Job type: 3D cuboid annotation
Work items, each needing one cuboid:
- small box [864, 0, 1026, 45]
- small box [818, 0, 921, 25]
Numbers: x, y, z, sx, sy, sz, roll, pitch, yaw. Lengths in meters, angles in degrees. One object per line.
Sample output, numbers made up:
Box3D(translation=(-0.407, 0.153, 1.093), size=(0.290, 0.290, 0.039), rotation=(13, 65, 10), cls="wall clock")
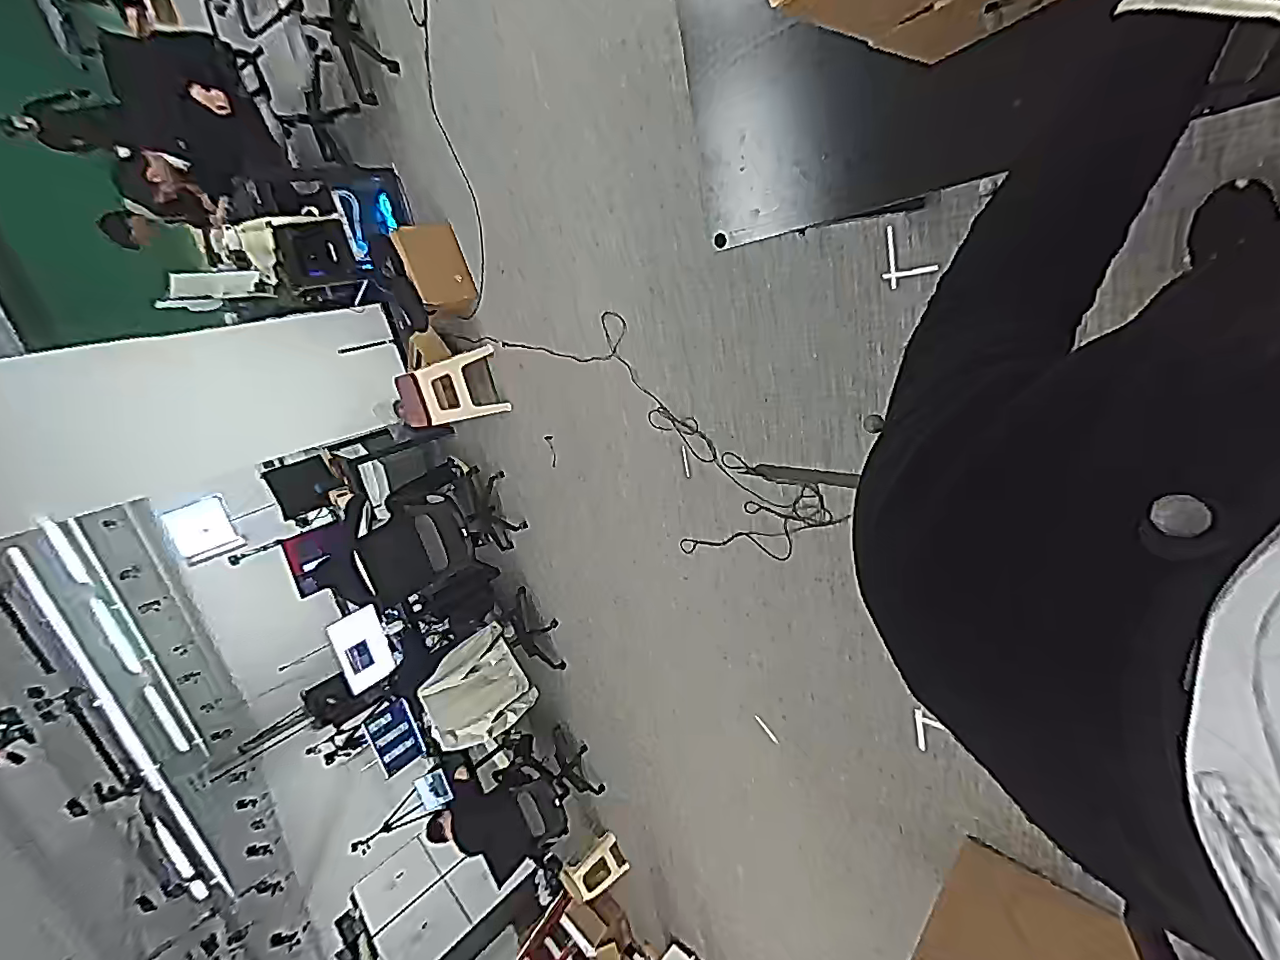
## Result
Box3D(translation=(0.309, -0.533, 0.488), size=(0.168, 0.176, 0.179), rotation=(3, 113, 49), cls="small box")
Box3D(translation=(0.189, -0.478, 0.386), size=(0.168, 0.176, 0.179), rotation=(1, 112, 50), cls="small box")
